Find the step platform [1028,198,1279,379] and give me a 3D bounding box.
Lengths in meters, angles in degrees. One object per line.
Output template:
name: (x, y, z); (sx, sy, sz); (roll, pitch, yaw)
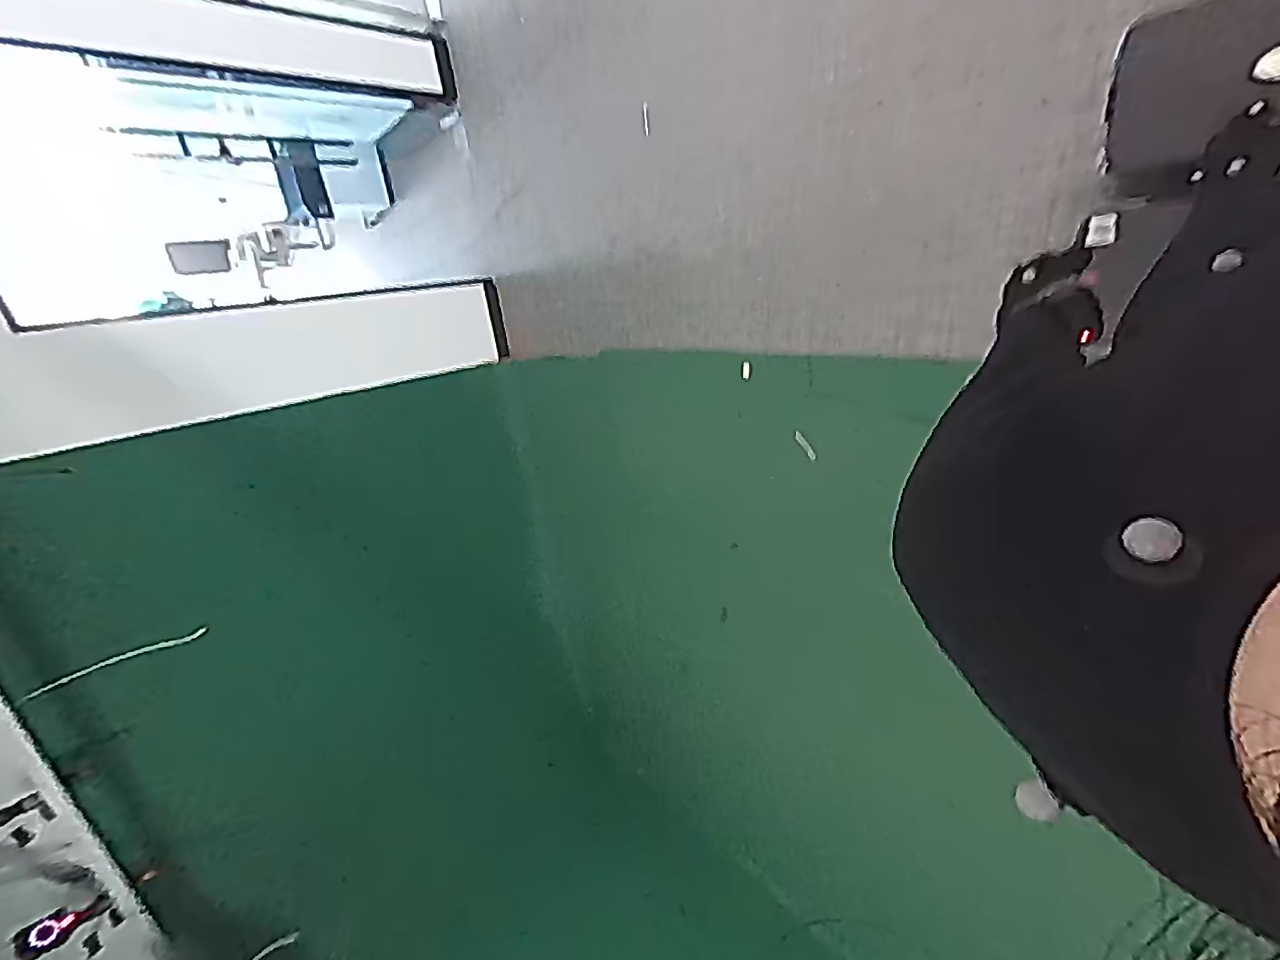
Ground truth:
step platform: (1.065, -0.312, 0.875); (0.684, 0.204, 0.286); (14, 118, 45)
